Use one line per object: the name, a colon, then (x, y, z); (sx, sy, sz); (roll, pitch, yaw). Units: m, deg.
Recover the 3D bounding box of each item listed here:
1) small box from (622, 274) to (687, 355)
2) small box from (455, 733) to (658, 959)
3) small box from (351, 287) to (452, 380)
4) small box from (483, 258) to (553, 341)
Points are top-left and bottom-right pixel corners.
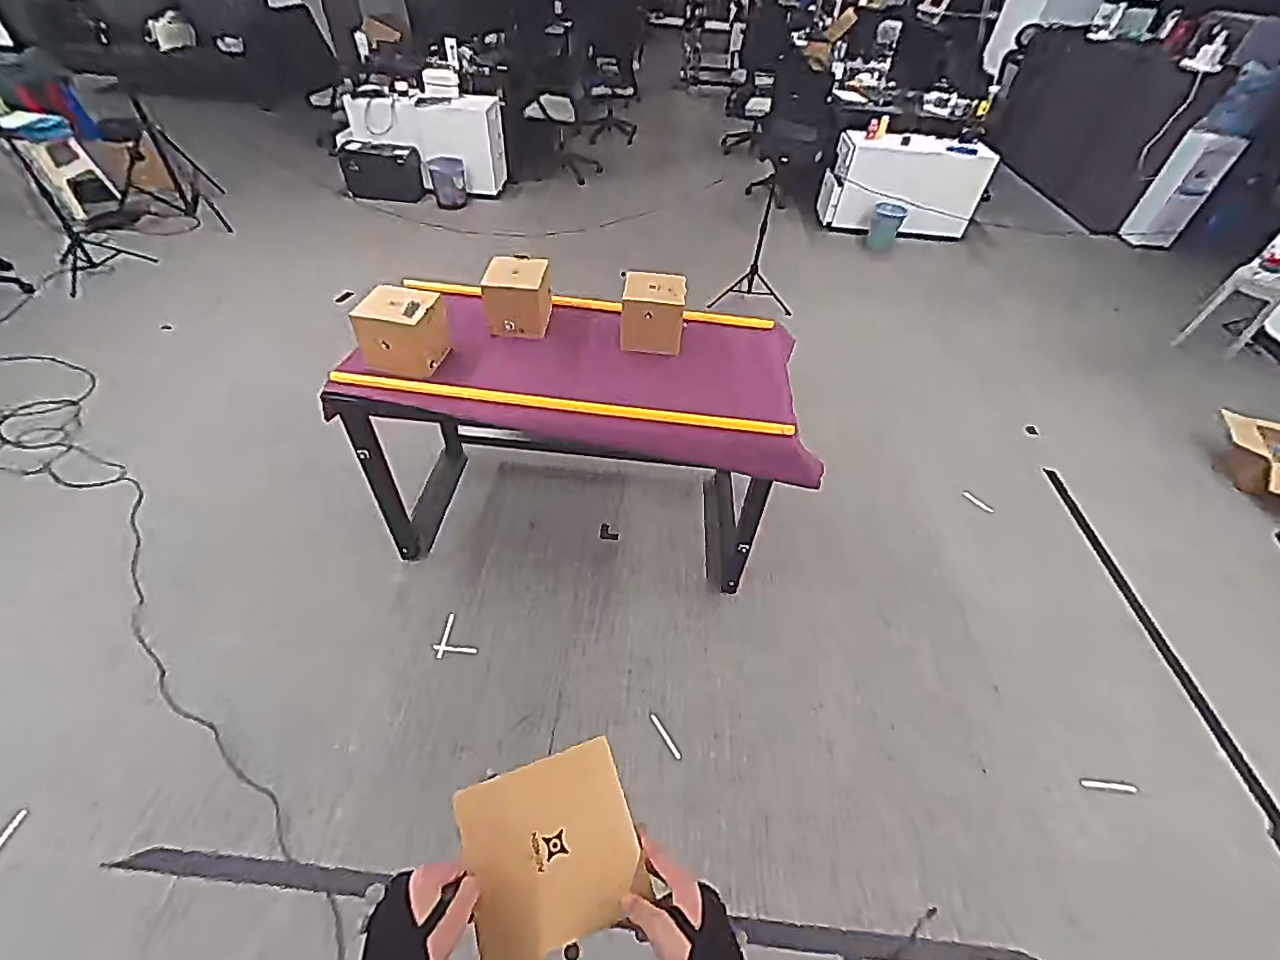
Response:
small box: (0.042, -0.486, 1.595); (0.179, 0.176, 0.168); (6, 48, 1)
small box: (-0.093, 0.414, 0.625); (0.179, 0.176, 0.168); (-18, 61, -11)
small box: (-0.623, -0.387, 1.443); (0.179, 0.176, 0.168); (9, 47, 3)
small box: (-0.356, -0.537, 1.611); (0.168, 0.176, 0.179); (4, 47, 0)
